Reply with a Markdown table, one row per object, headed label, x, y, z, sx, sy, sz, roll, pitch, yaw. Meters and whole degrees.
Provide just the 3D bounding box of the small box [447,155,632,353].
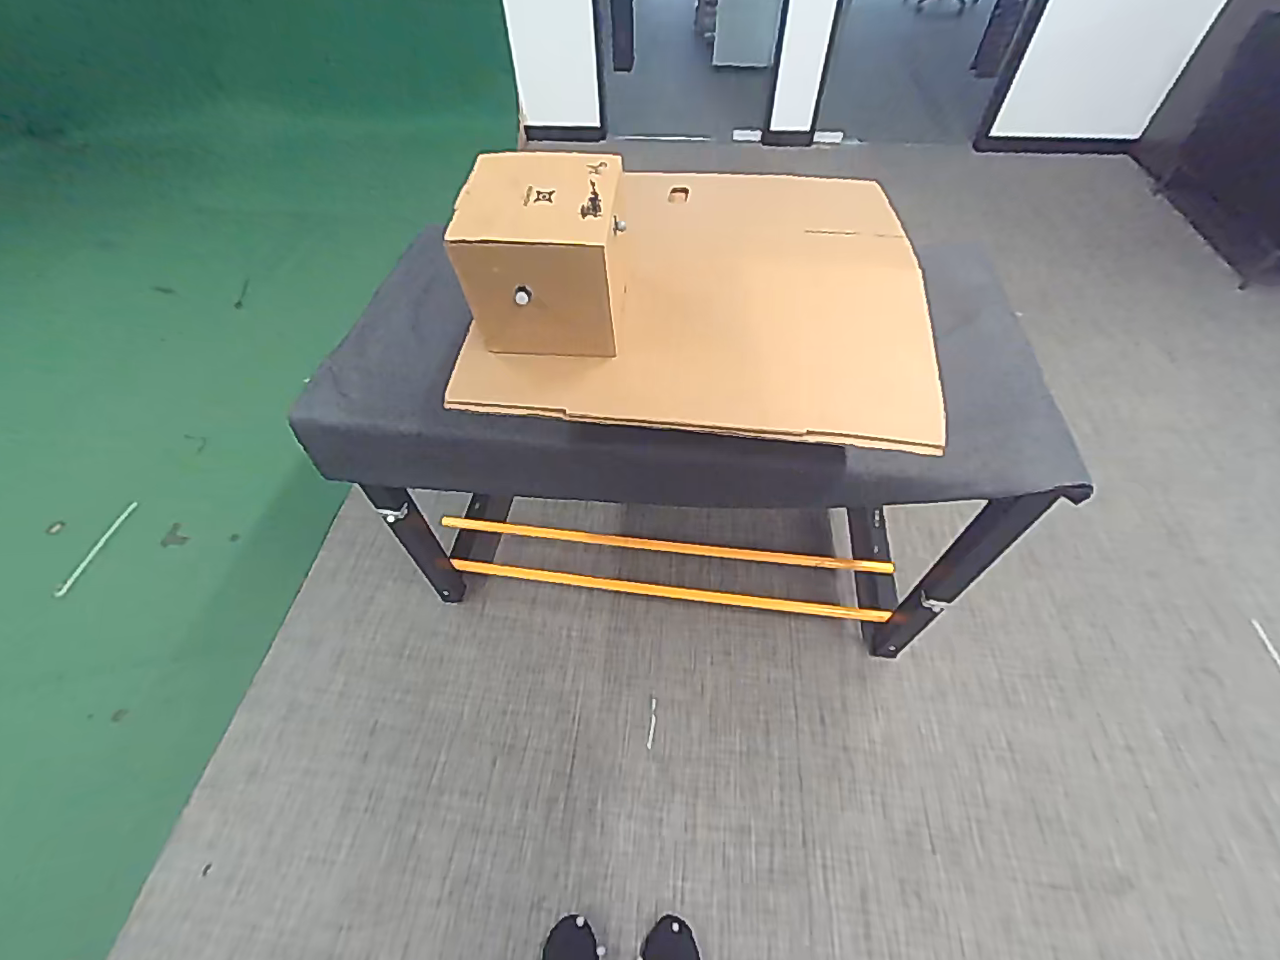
| label | x | y | z | sx | sy | sz | roll | pitch | yaw |
| --- | --- | --- | --- | --- | --- | --- | --- | --- | --- |
| small box | -0.110 | -0.276 | 0.678 | 0.179 | 0.176 | 0.168 | 3 | 61 | 5 |
